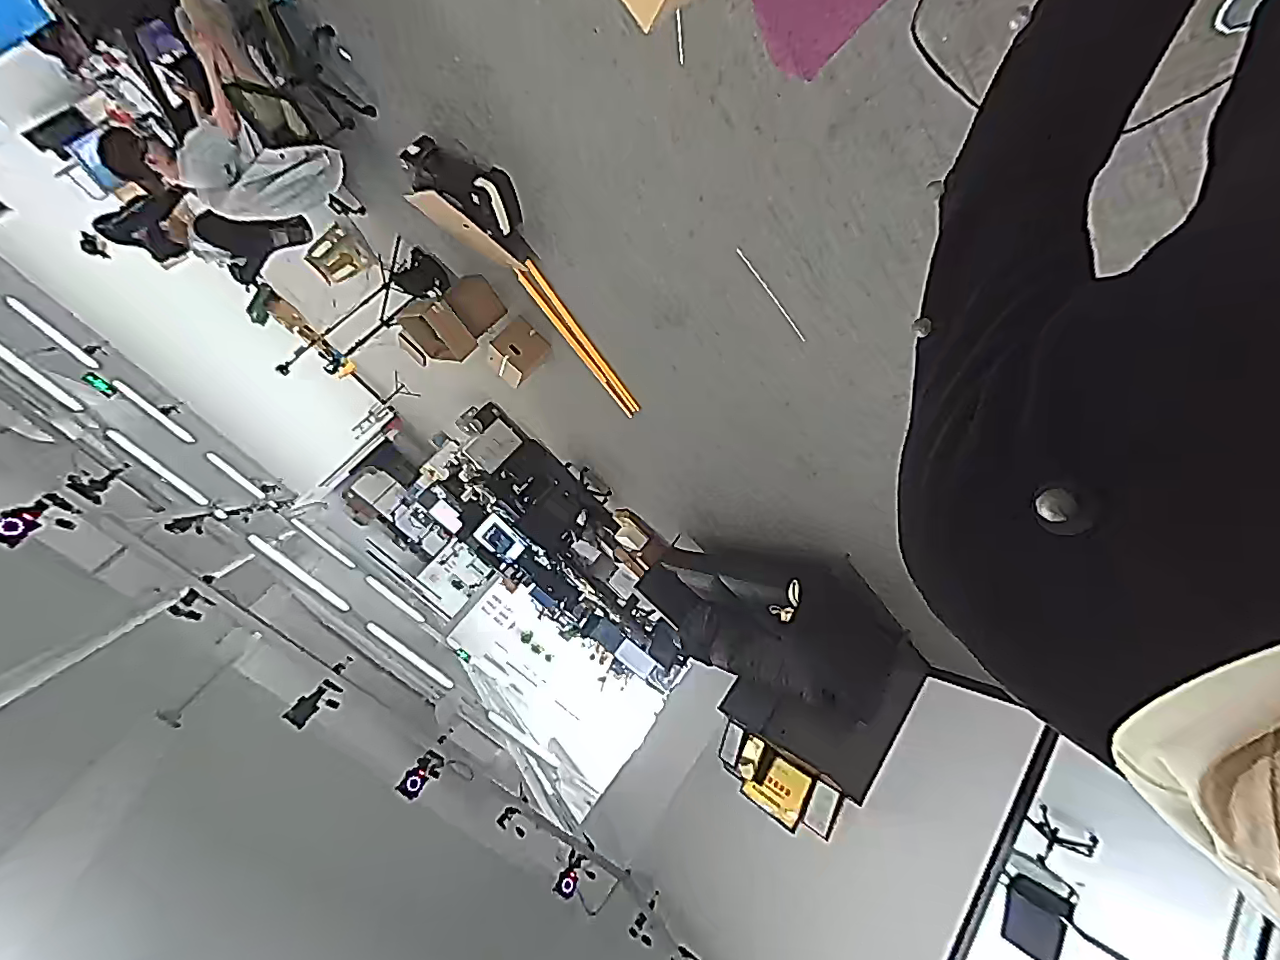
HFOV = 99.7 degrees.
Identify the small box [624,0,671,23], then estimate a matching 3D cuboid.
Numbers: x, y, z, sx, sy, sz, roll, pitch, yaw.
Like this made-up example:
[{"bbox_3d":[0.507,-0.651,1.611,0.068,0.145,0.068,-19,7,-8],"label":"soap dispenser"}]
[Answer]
[{"bbox_3d":[0.034,-0.587,0.486,0.179,0.176,0.168,46,161,-16],"label":"small box"}]
